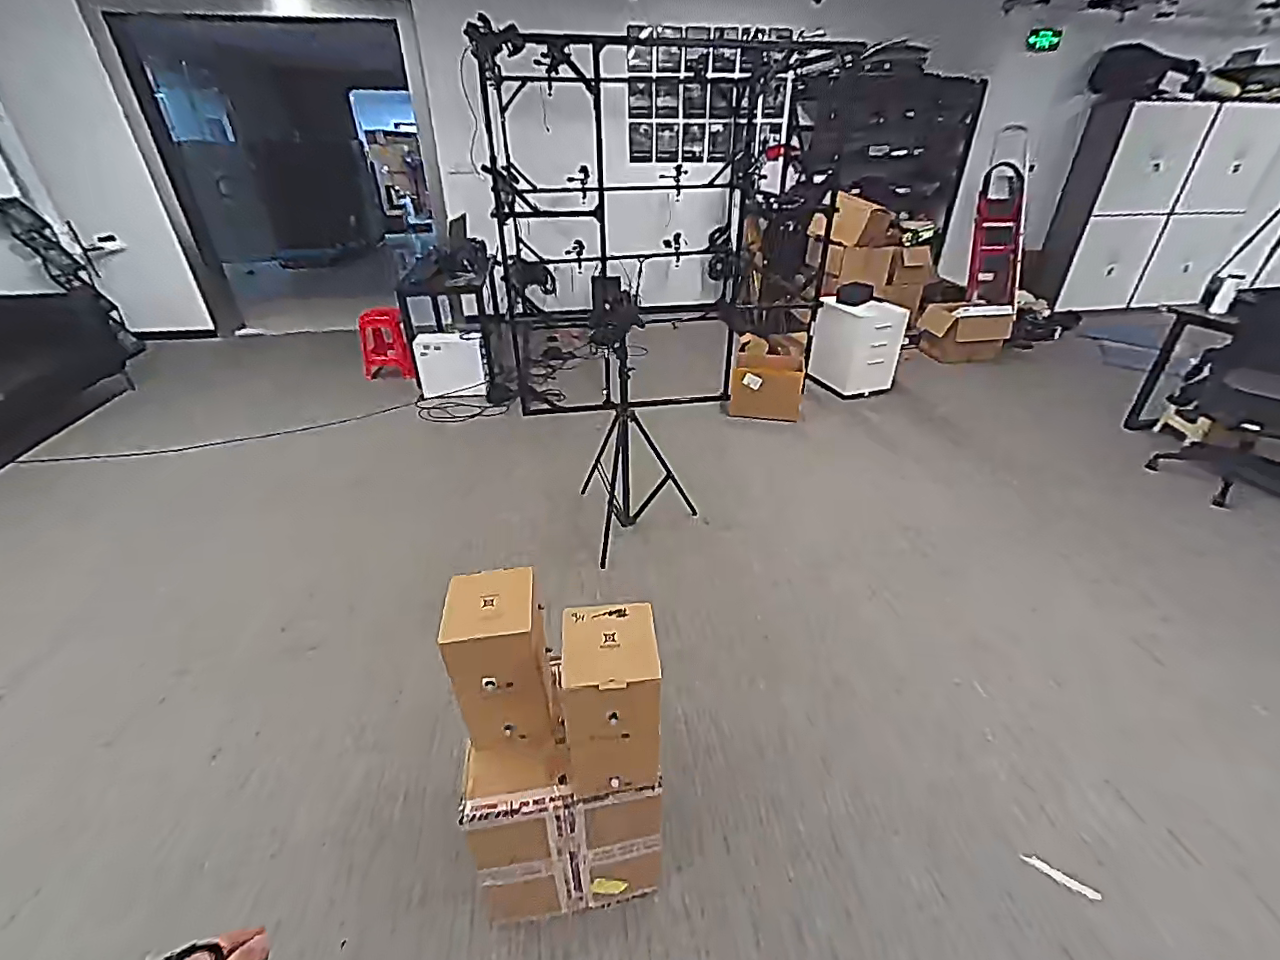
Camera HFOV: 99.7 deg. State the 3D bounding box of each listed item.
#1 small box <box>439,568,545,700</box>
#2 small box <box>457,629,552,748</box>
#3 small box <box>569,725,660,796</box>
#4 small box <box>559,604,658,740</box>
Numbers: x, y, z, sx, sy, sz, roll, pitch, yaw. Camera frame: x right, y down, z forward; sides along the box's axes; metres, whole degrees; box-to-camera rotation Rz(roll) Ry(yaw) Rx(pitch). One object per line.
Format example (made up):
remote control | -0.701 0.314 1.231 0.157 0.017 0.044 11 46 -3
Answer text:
small box | -0.283 0.301 1.069 0.168 0.176 0.179 -7 34 -6
small box | -0.282 0.438 1.158 0.168 0.176 0.179 -6 34 -7
small box | -0.059 0.491 1.078 0.168 0.176 0.179 -5 34 -8
small box | -0.057 0.354 0.988 0.168 0.176 0.179 -3 34 -5
